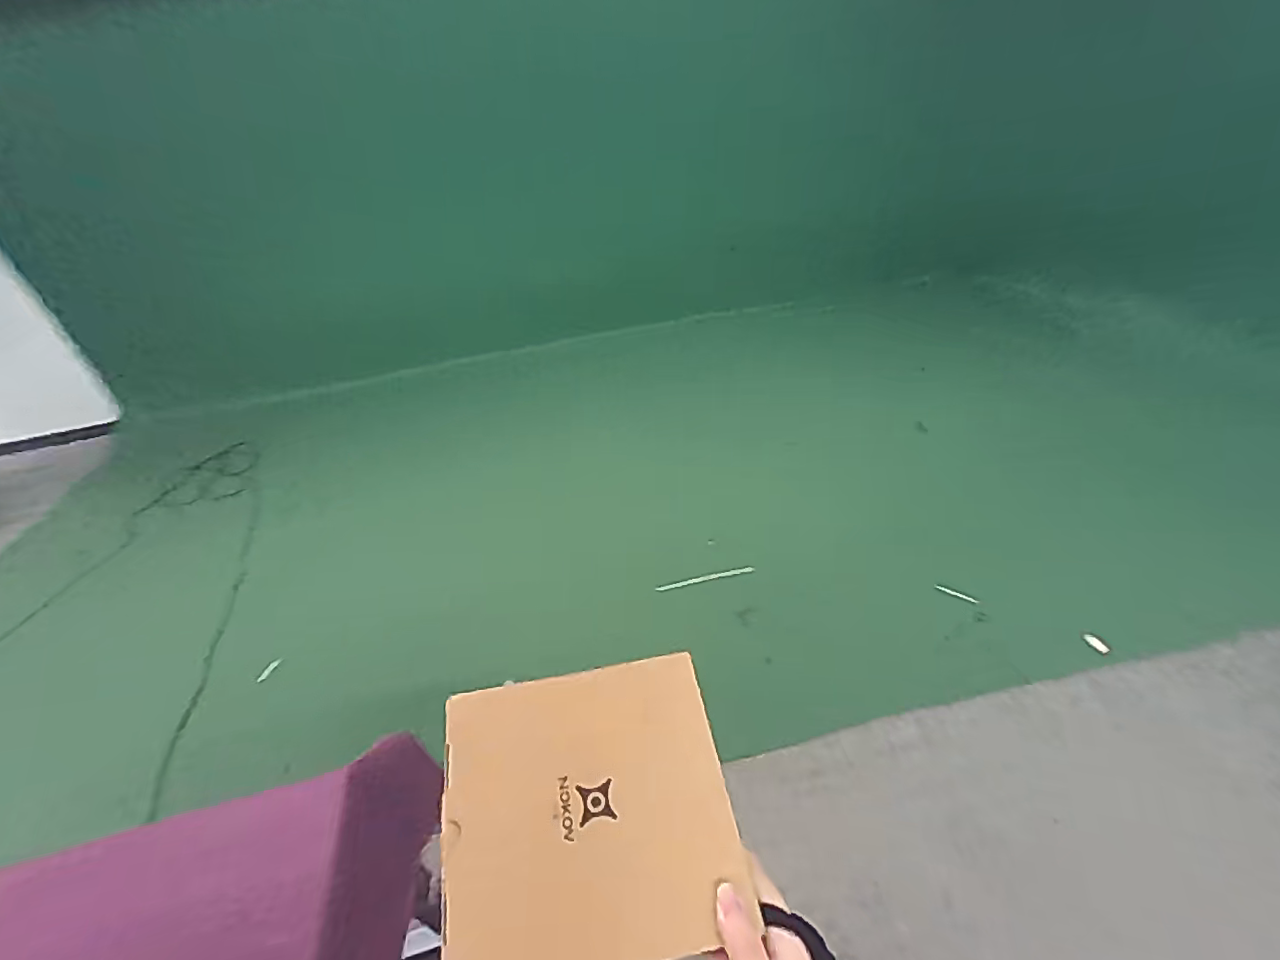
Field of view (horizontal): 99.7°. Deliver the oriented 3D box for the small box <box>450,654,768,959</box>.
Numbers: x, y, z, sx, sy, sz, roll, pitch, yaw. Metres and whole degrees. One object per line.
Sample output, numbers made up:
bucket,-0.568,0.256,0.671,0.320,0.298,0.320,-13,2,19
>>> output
small box,-0.029,0.250,0.397,0.179,0.176,0.168,-8,50,-7
